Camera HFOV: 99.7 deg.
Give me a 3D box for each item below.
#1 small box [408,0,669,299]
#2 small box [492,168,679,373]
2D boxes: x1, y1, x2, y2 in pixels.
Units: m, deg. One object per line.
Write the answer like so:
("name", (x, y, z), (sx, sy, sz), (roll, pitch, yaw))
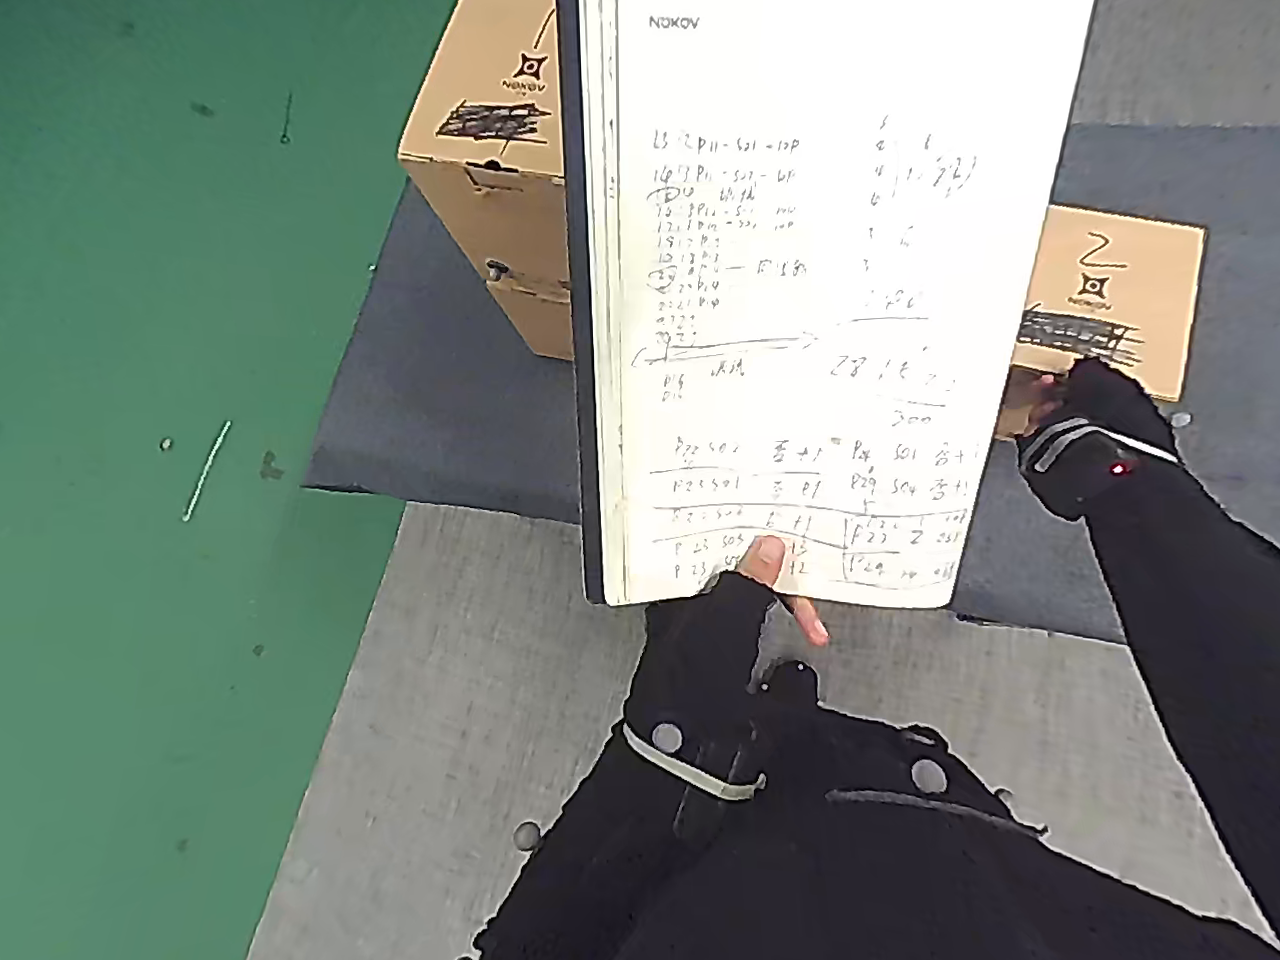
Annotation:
("small box", (-0.074, -0.297, 0.503), (0.168, 0.176, 0.179), (14, 78, 10))
("small box", (-0.051, -0.256, 0.660), (0.168, 0.176, 0.179), (13, 79, 11))
